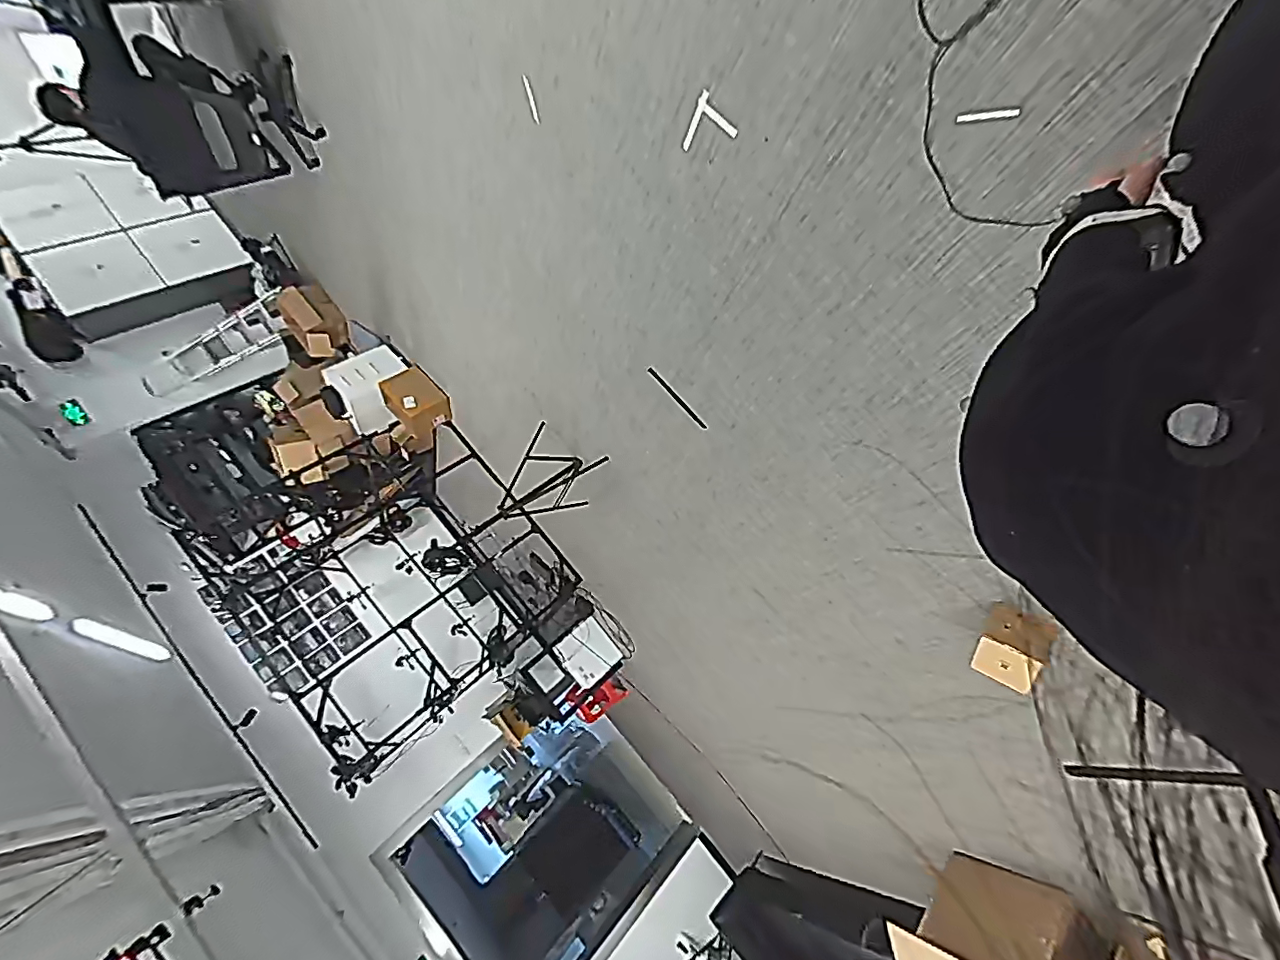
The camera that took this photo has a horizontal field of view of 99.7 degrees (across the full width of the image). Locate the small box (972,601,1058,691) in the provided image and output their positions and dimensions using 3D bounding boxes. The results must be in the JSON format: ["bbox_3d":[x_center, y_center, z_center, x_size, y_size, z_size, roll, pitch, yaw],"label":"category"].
[{"bbox_3d":[1.185,0.518,1.707,0.168,0.176,0.179,27,142,39],"label":"small box"}]
